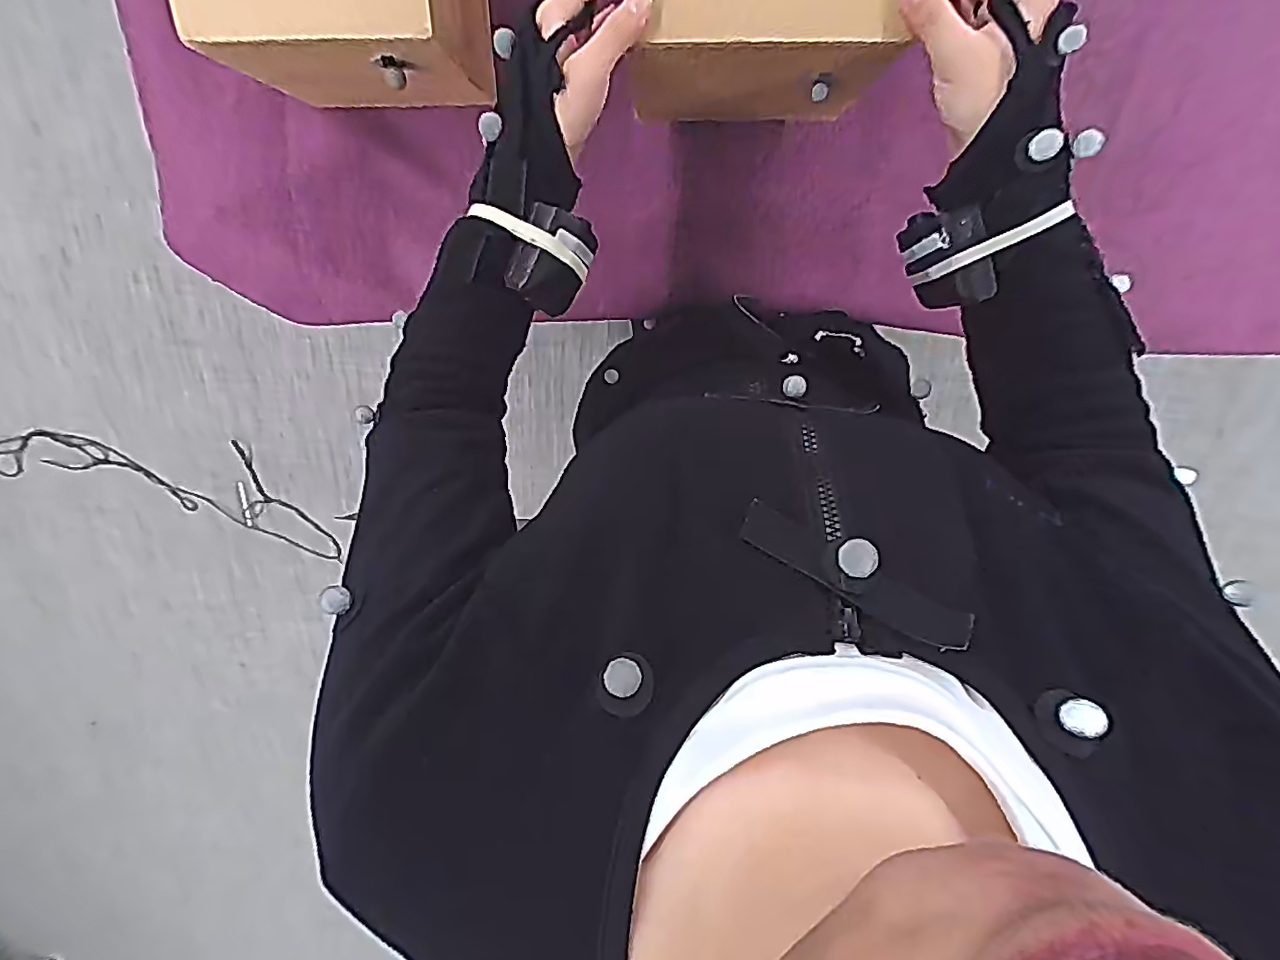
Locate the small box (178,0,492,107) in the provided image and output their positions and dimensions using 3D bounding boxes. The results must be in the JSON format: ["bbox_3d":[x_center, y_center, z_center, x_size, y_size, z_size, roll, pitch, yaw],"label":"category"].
[{"bbox_3d":[-0.219,-0.403,0.410,0.179,0.176,0.168,0,111,1],"label":"small box"}]
